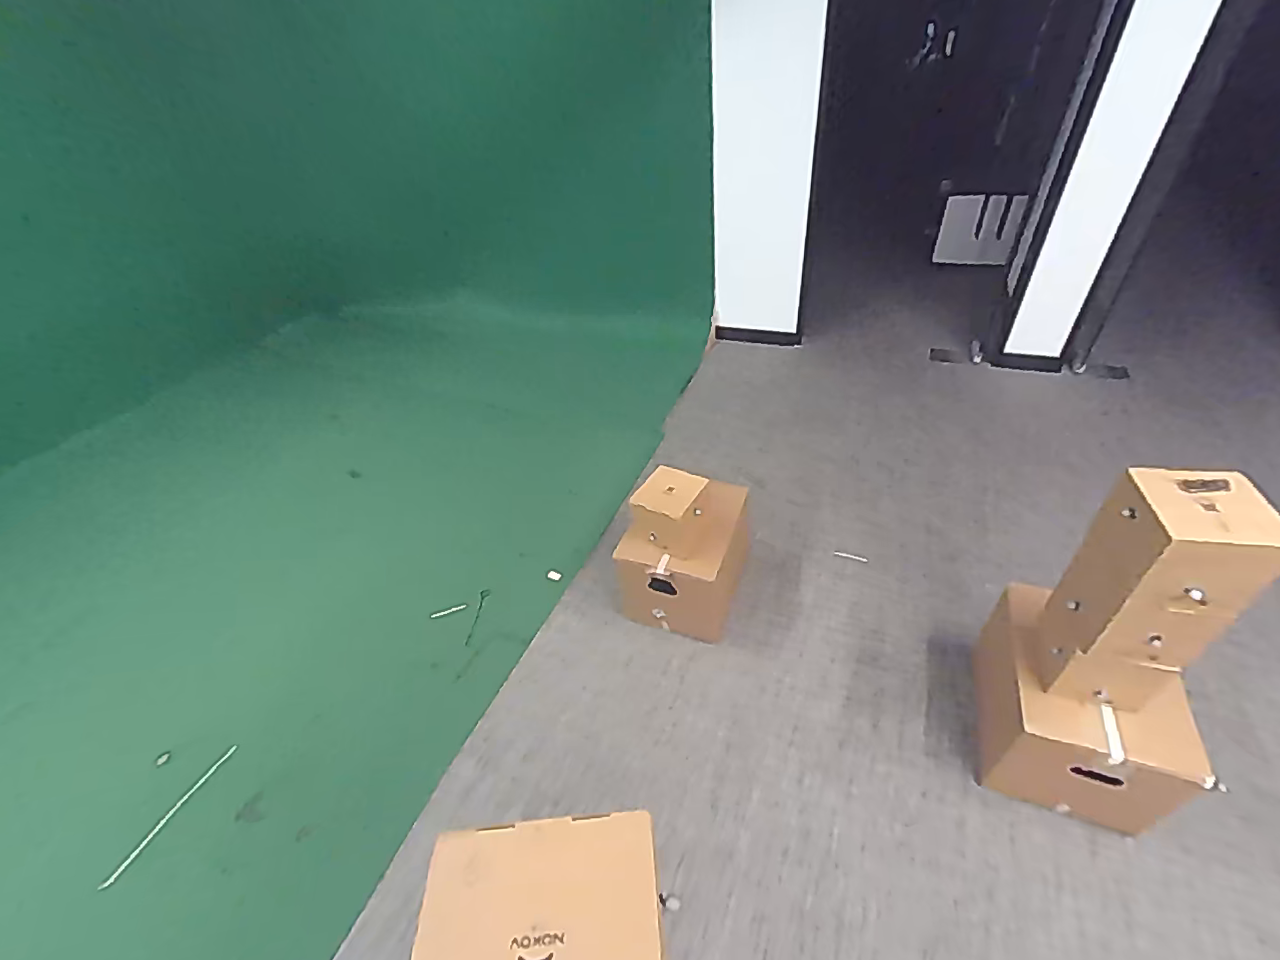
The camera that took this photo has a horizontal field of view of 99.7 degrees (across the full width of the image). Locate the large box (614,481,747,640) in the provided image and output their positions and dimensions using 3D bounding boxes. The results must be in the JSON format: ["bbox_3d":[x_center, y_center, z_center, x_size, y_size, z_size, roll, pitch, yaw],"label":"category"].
[{"bbox_3d":[0.151,0.240,1.756,0.320,0.320,0.408,11,44,21],"label":"large box"}]

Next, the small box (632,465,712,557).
[{"bbox_3d":[0.097,0.089,1.563,0.168,0.176,0.179,18,48,29],"label":"small box"}]

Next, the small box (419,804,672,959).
[{"bbox_3d":[-0.060,0.375,0.405,0.168,0.176,0.179,-6,40,0],"label":"small box"}]

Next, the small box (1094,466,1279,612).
[{"bbox_3d":[0.927,0.098,0.925,0.168,0.176,0.179,3,43,15],"label":"small box"}]

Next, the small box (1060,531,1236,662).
[{"bbox_3d":[0.948,0.223,1.031,0.168,0.176,0.179,4,43,15],"label":"small box"}]
